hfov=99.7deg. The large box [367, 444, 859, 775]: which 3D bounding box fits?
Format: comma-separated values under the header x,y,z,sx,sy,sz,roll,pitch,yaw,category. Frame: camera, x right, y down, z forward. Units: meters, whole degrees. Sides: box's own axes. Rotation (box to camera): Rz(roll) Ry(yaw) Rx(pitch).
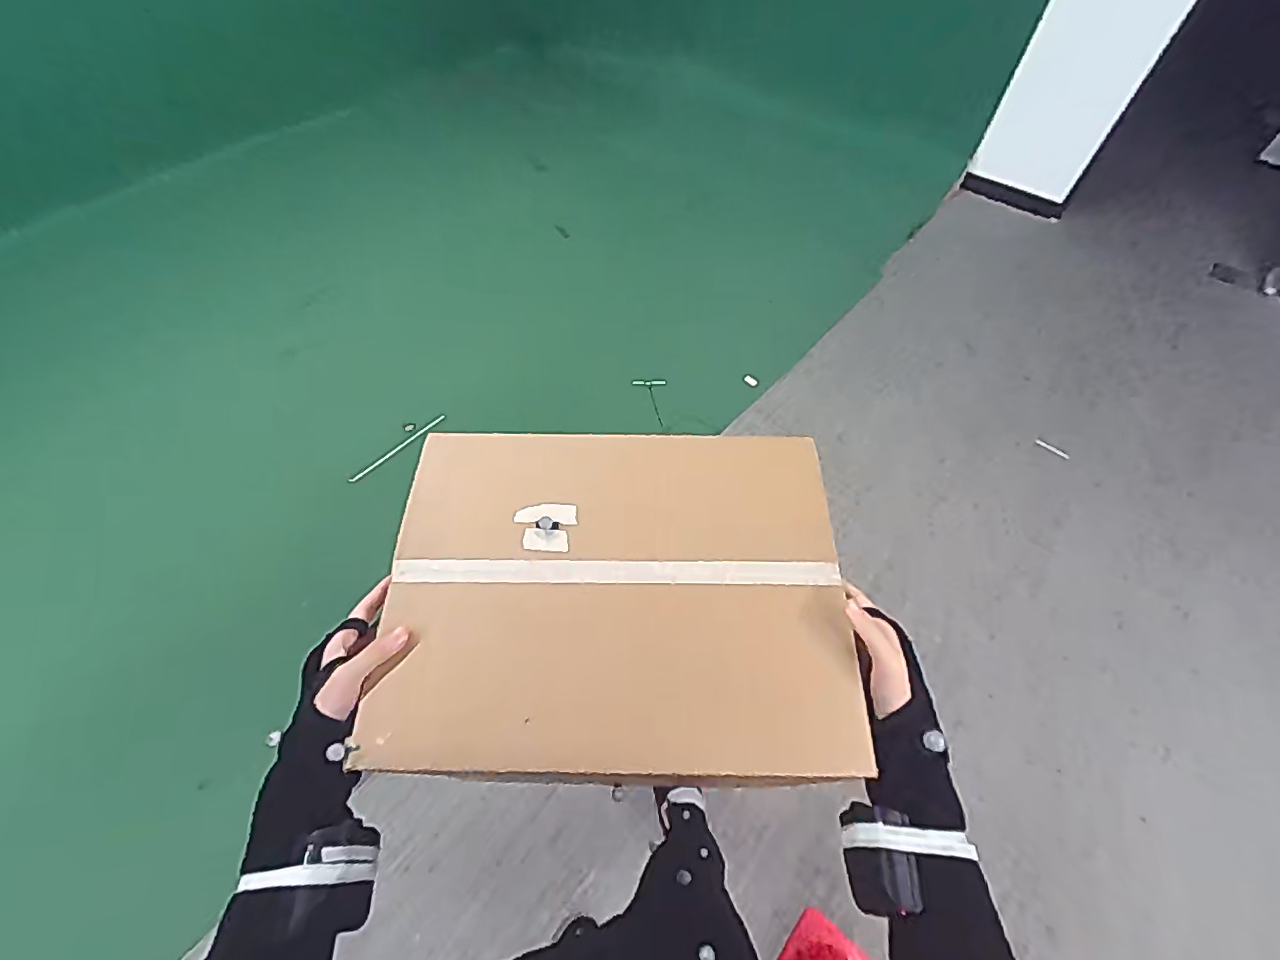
x,y,z,sx,sy,sz,roll,pitch,yaw,category
-0.018,0.168,0.634,0.408,0.320,0.320,1,59,1,large box
